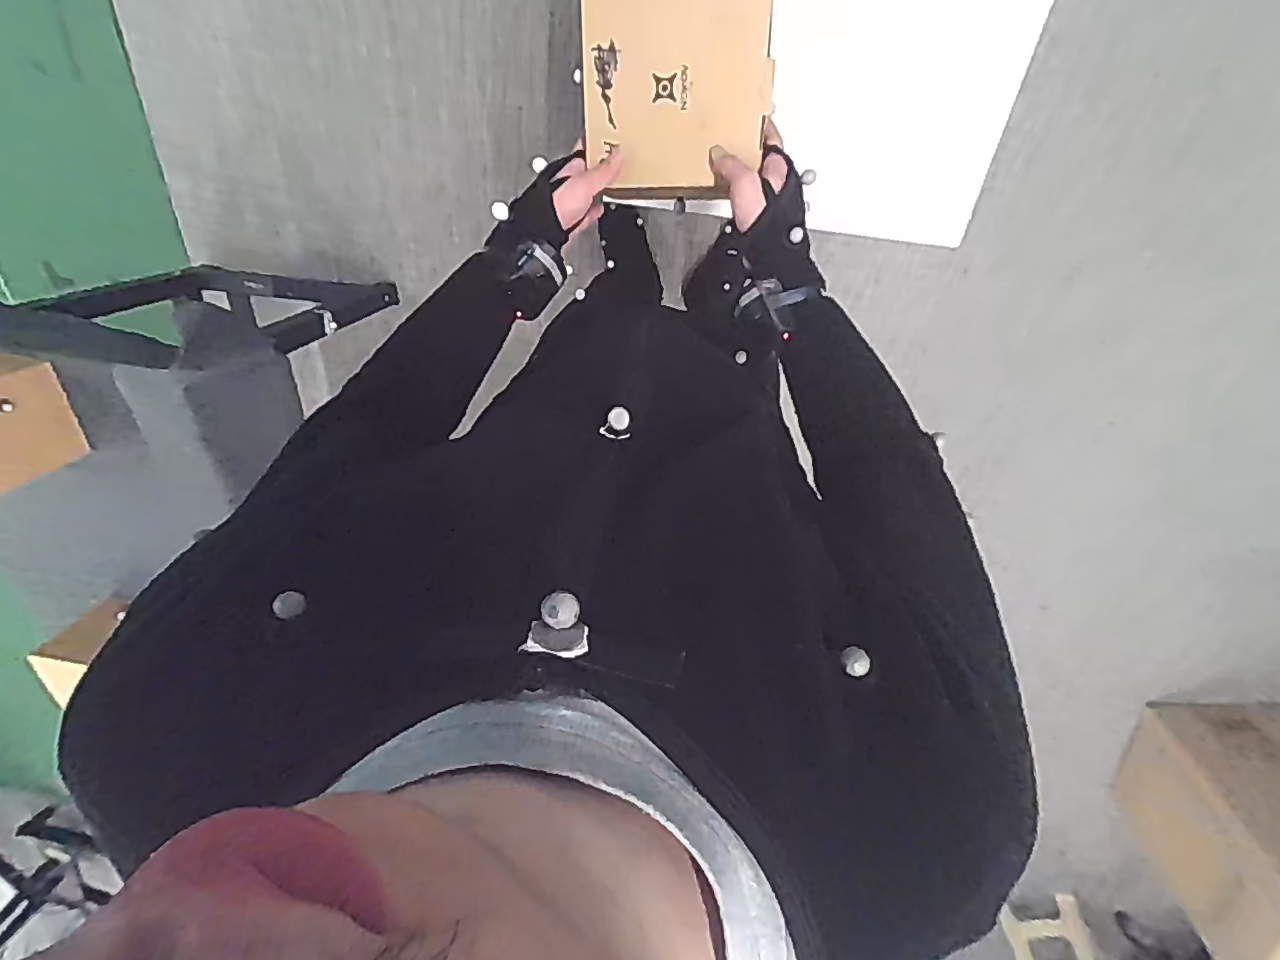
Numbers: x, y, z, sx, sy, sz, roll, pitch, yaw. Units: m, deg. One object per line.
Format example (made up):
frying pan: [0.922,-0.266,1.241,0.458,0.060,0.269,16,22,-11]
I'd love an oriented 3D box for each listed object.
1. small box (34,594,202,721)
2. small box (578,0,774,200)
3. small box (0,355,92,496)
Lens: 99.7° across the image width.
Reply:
small box: [-1.088,0.373,1.149,0.168,0.176,0.179,9,121,3]
small box: [0.038,-0.398,0.577,0.179,0.176,0.168,3,114,6]
small box: [-1.058,-0.096,0.863,0.168,0.176,0.179,10,123,4]
